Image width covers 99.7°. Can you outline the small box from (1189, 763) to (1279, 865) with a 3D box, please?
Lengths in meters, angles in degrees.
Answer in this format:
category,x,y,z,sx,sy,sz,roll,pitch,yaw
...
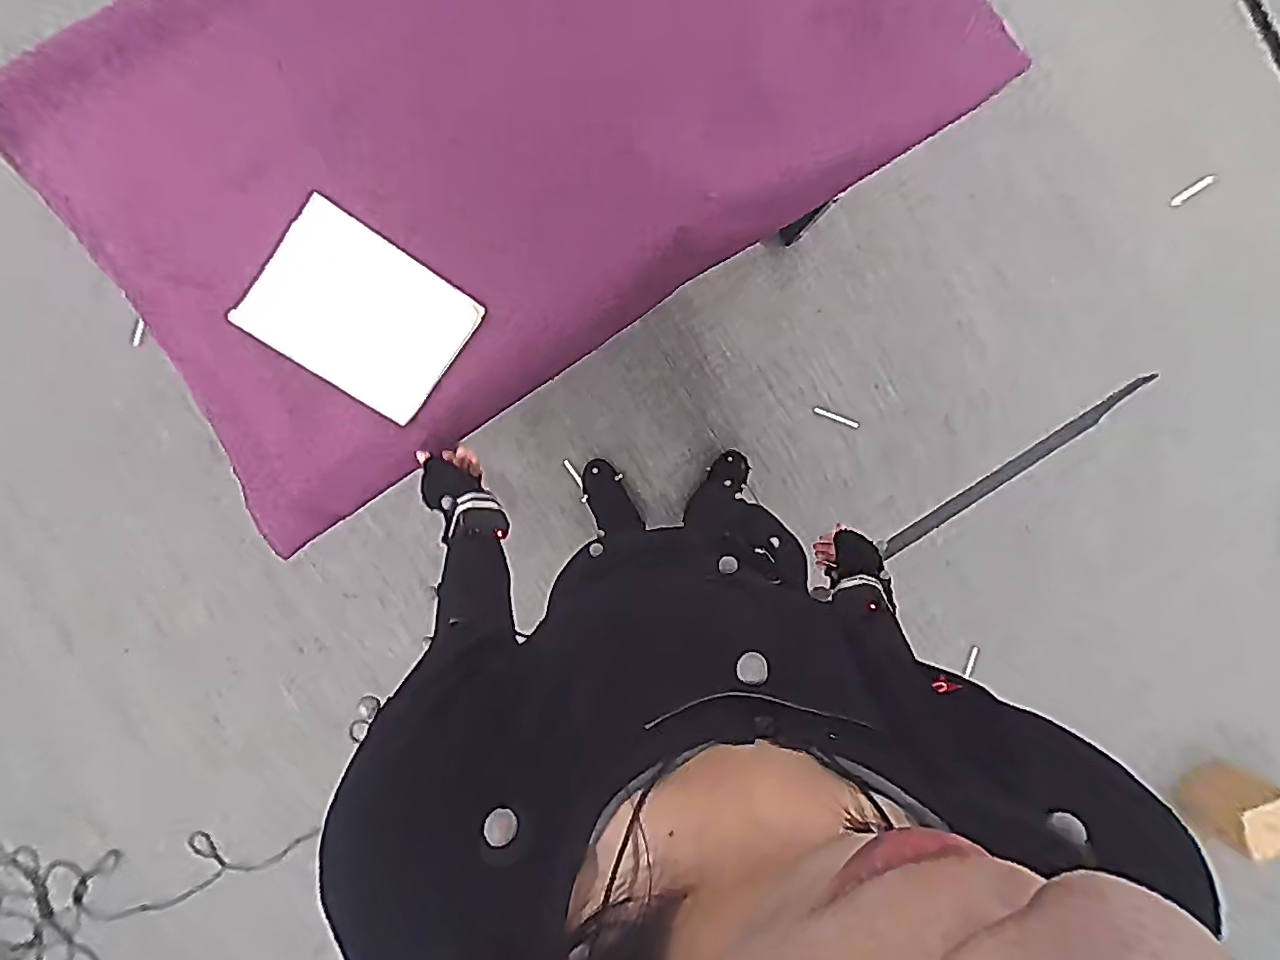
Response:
category,x,y,z,sx,sy,sz,roll,pitch,yaw
small box,1.819,0.997,1.628,0.179,0.176,0.168,-21,96,-4
